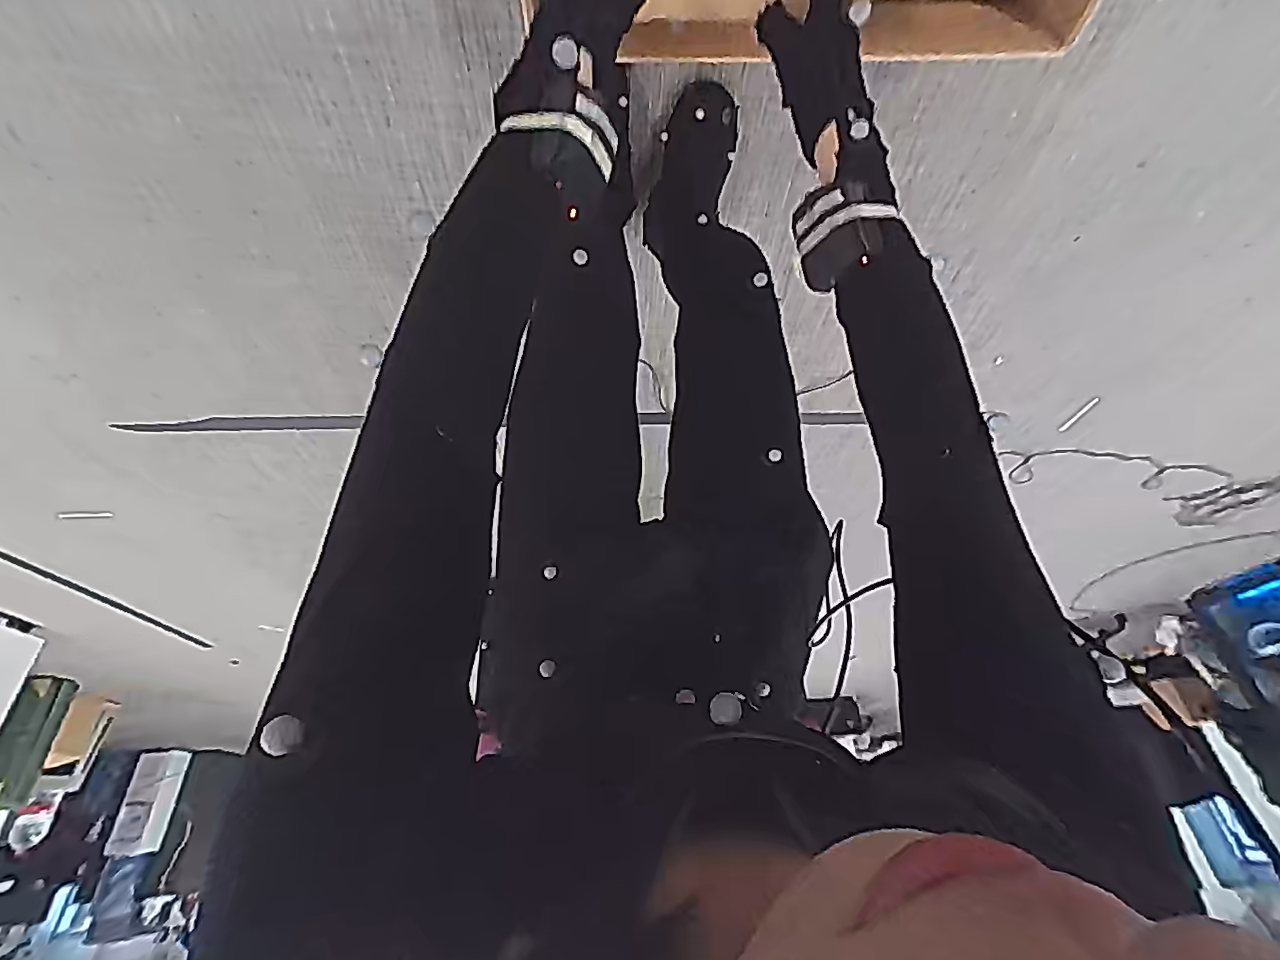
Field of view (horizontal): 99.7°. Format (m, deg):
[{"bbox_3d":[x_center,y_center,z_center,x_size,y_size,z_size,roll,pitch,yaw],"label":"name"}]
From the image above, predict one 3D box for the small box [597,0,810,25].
[{"bbox_3d":[0.050,-0.492,0.452,0.179,0.176,0.168,-2,134,-2],"label":"small box"}]
